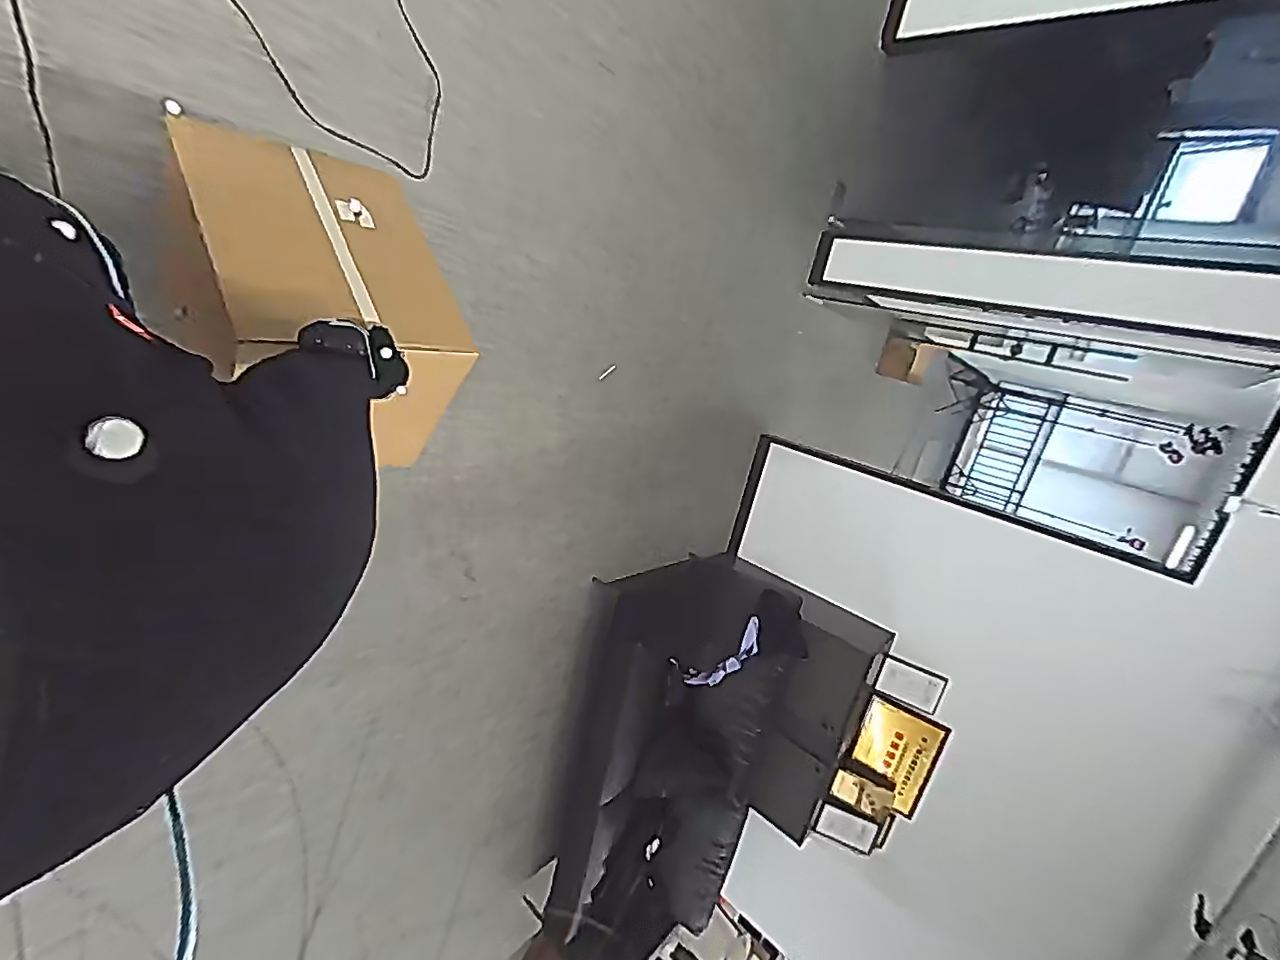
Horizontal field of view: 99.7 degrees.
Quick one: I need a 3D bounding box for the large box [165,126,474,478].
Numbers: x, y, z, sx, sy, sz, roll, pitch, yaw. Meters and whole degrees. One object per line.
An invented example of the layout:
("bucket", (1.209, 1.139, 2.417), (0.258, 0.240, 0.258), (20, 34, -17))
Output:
("large box", (-0.538, -0.264, 0.891), (0.320, 0.408, 0.320), (-11, 156, -47))
